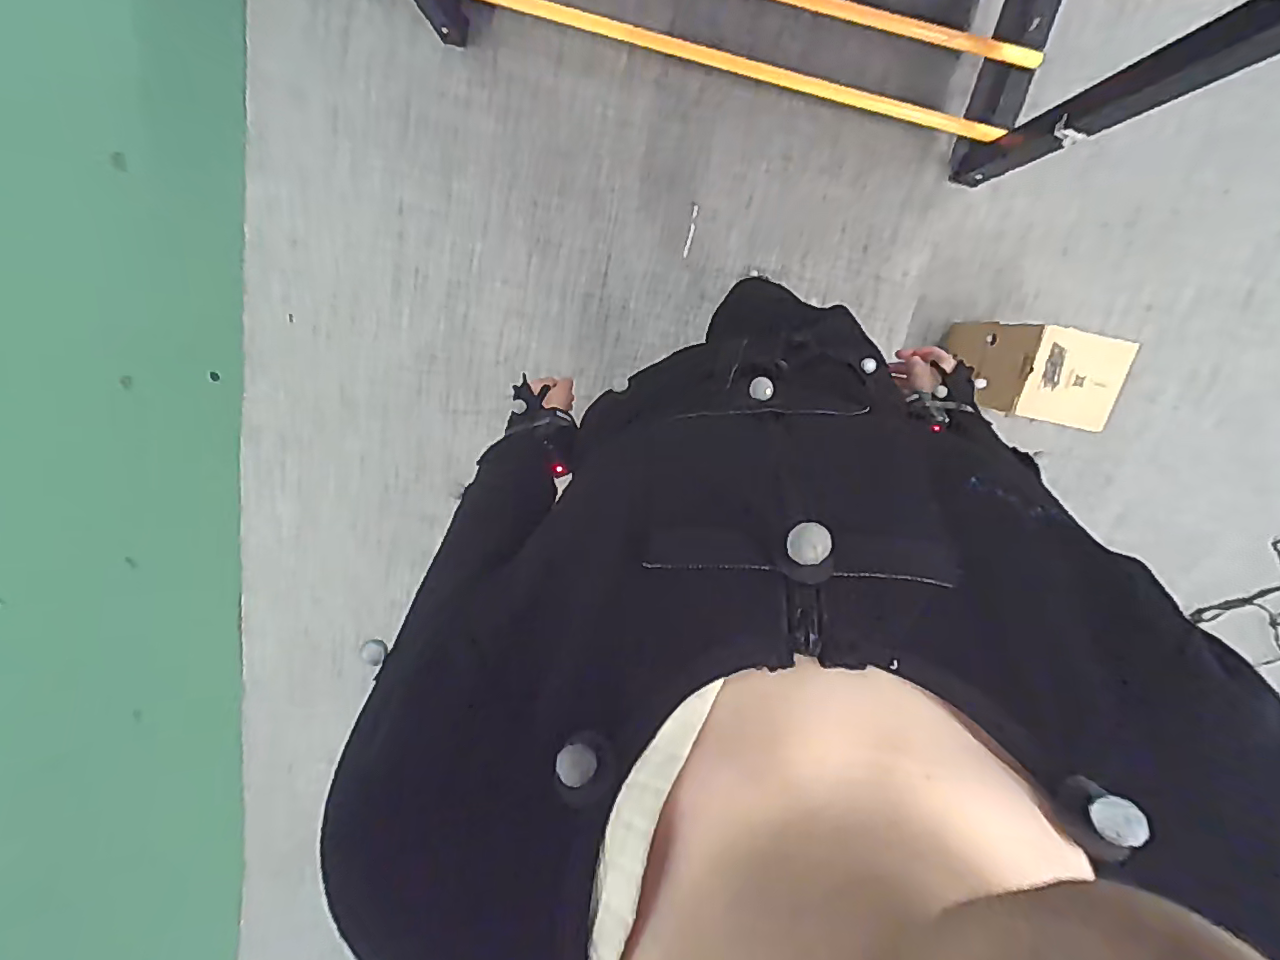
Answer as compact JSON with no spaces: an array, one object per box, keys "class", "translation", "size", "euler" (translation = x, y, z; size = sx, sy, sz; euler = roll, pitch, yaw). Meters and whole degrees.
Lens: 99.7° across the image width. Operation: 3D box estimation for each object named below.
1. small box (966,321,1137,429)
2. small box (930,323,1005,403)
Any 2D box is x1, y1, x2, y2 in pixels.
[{"class":"small box","translation":[0.780,-0.206,1.049],"size":[0.179,0.176,0.168],"euler":[11,105,-3]},{"class":"small box","translation":[0.794,-0.250,1.207],"size":[0.179,0.176,0.168],"euler":[13,104,-3]}]
